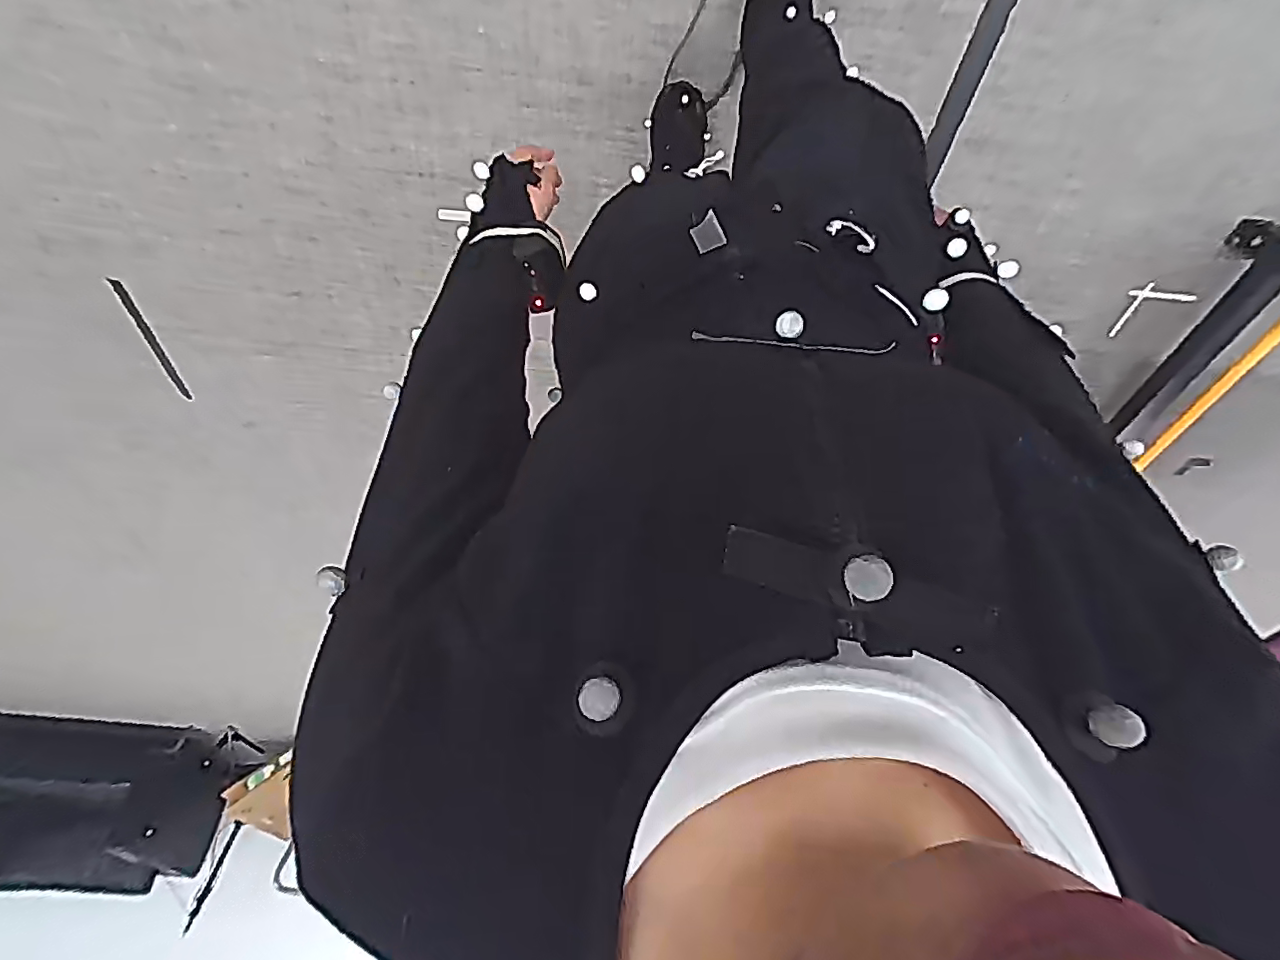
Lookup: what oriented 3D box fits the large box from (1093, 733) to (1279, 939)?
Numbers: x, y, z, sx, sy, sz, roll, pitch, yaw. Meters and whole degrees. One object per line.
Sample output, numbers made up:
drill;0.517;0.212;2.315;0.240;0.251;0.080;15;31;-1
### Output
large box;1.336;0.767;1.159;0.408;0.320;0.320;5;136;-2
